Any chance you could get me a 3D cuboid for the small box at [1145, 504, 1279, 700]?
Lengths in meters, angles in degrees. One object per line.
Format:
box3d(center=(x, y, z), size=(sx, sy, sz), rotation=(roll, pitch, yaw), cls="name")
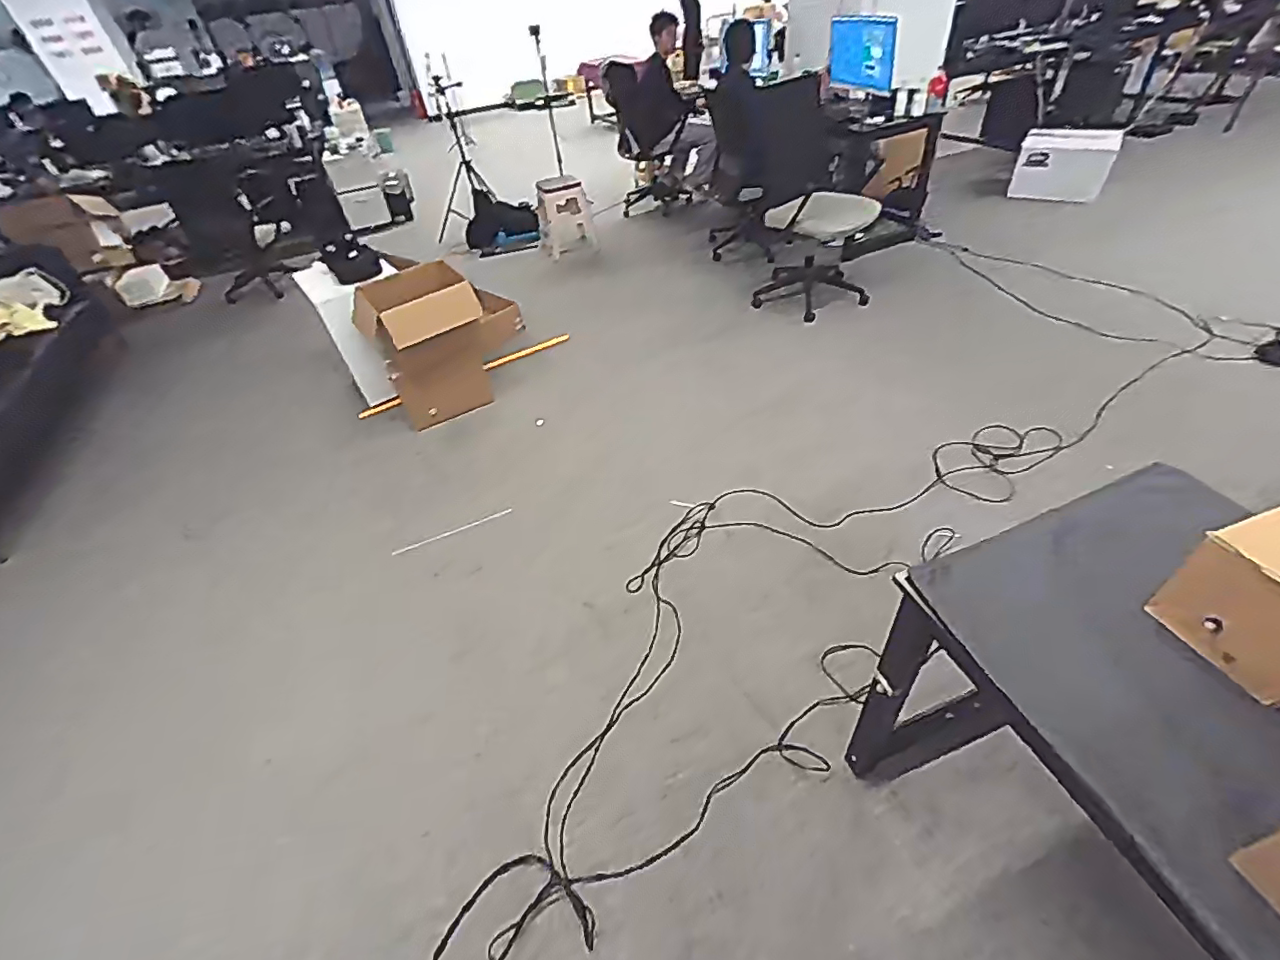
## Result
box3d(center=(0.835, 0.154, 0.705), size=(0.179, 0.176, 0.168), rotation=(-17, 44, -9), cls="small box")
